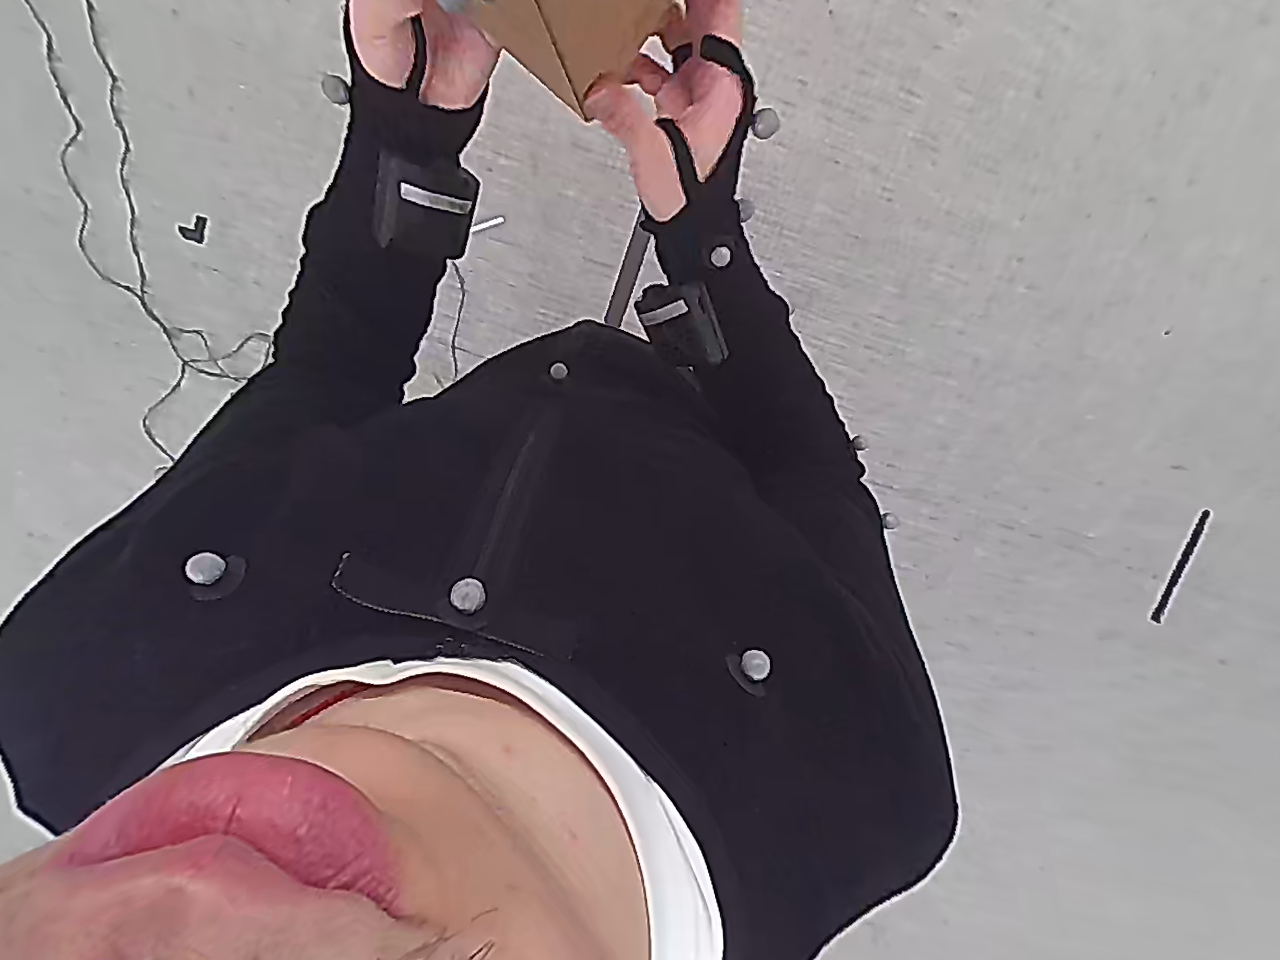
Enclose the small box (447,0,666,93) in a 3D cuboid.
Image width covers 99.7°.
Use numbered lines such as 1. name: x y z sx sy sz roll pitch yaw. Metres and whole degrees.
1. small box: -0.044 -0.284 0.191 0.179 0.176 0.168 38 104 -9
